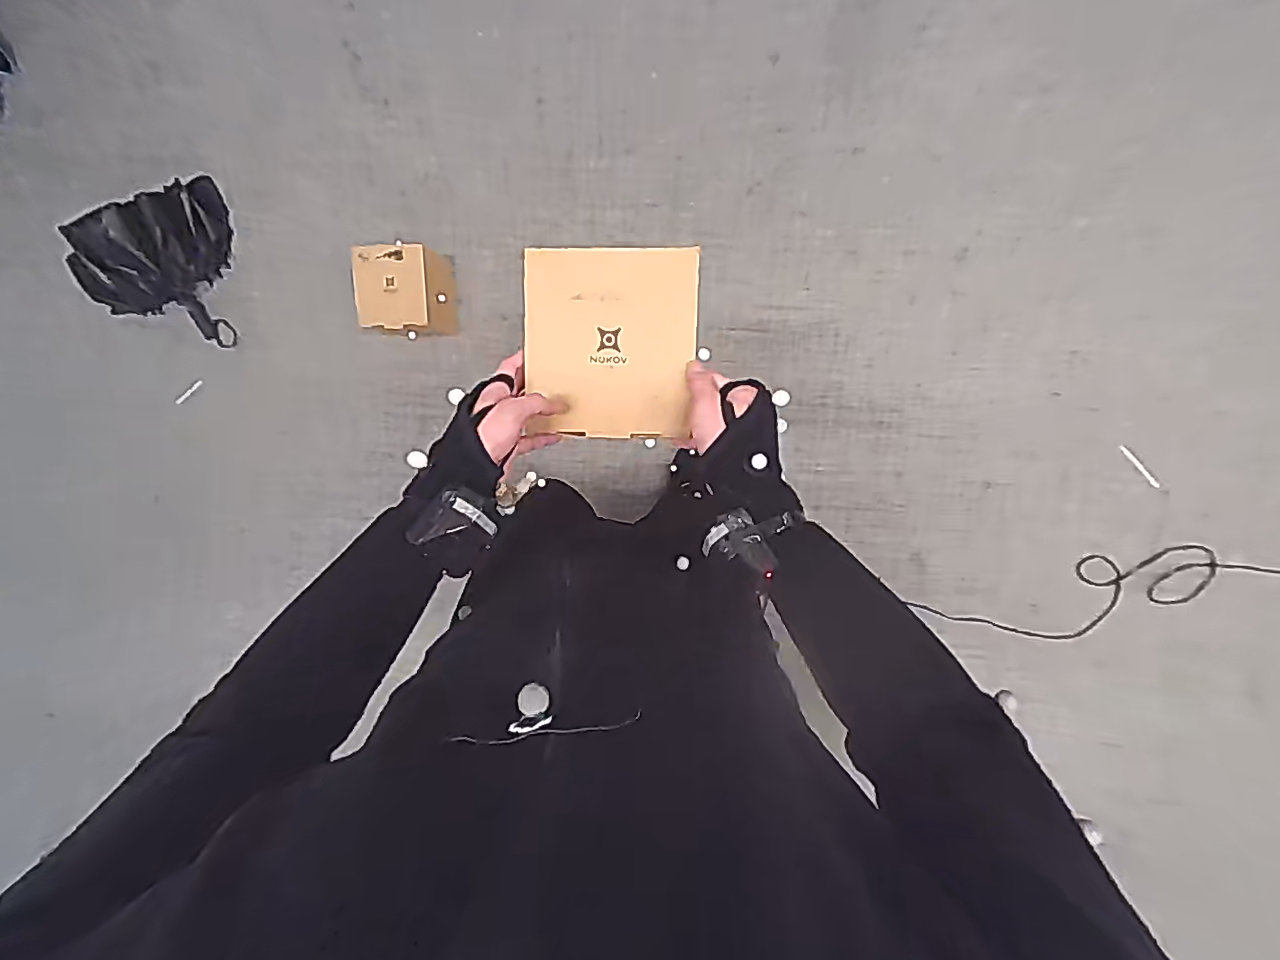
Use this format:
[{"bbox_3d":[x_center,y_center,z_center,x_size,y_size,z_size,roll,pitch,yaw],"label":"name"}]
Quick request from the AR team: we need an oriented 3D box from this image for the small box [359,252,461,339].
[{"bbox_3d":[-0.542,-0.433,1.298,0.168,0.176,0.179,-1,99,5],"label":"small box"}]
